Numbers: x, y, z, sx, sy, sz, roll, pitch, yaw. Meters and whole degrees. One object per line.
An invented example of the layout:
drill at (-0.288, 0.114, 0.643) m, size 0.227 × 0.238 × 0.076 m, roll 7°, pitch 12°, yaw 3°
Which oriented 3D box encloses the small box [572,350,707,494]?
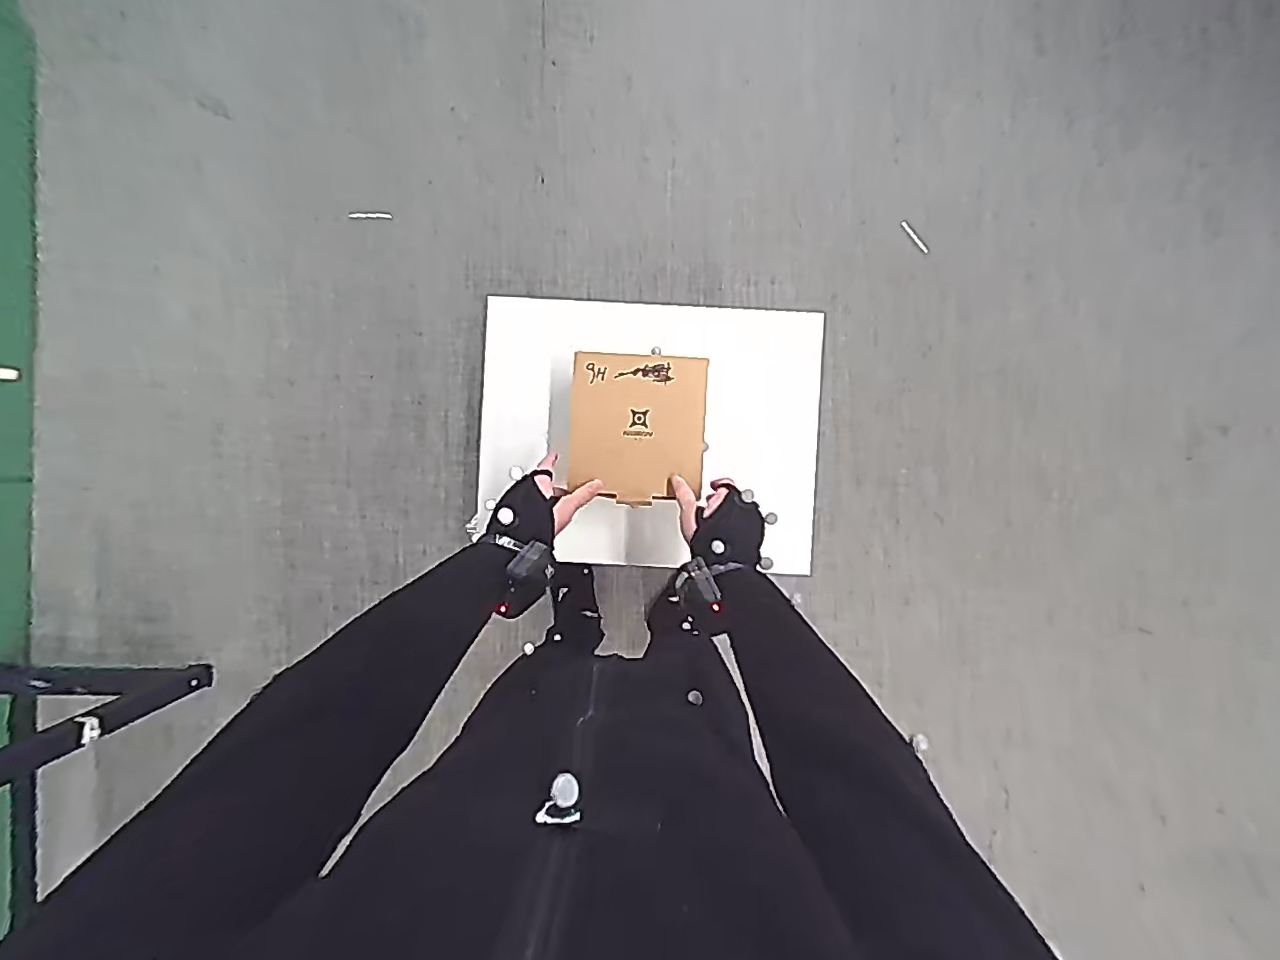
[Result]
small box at (0.002, -0.072, 0.745) m, size 0.168 × 0.176 × 0.179 m, roll 1°, pitch 89°, yaw 1°
